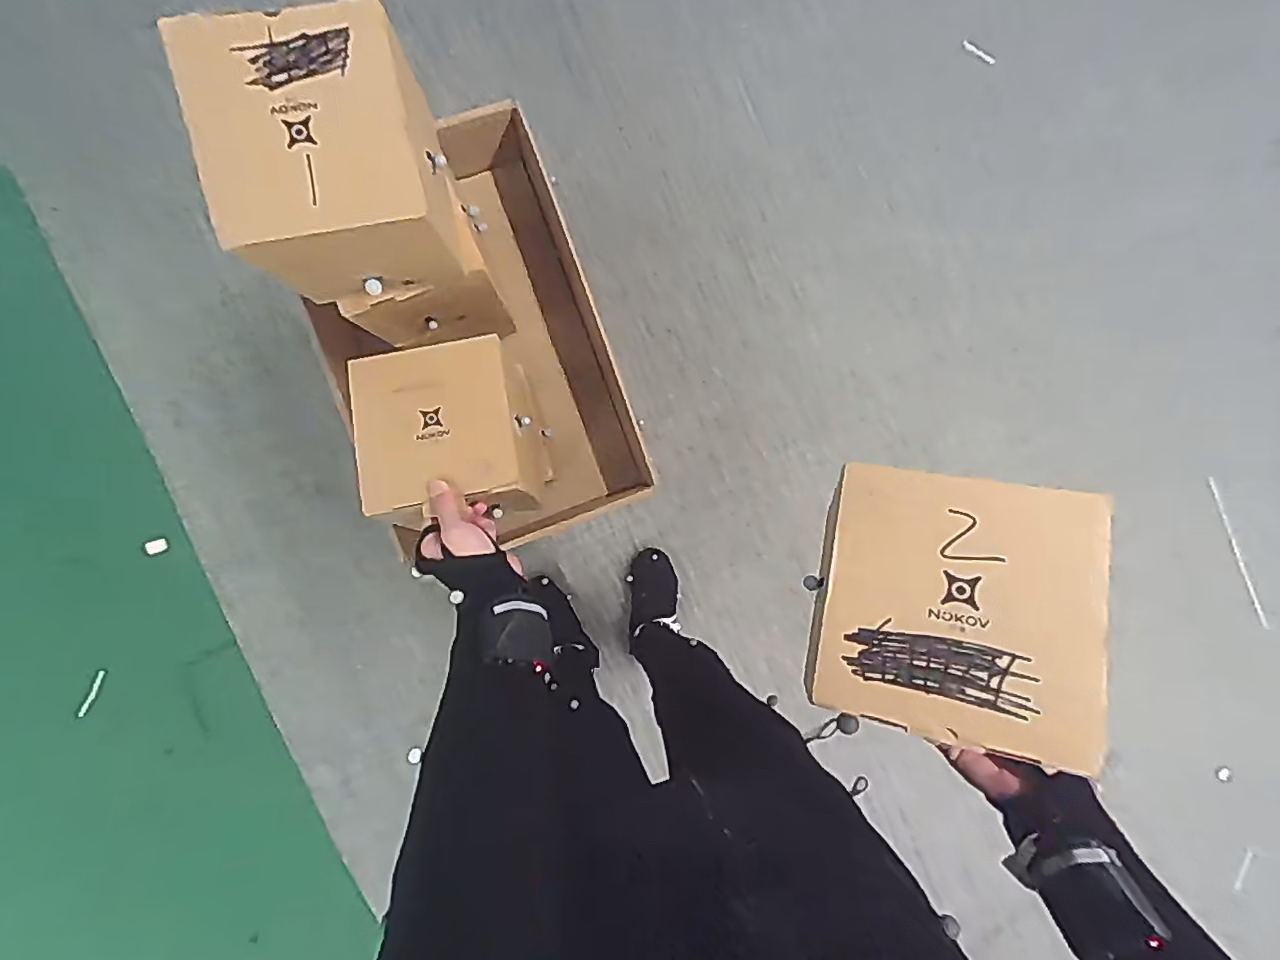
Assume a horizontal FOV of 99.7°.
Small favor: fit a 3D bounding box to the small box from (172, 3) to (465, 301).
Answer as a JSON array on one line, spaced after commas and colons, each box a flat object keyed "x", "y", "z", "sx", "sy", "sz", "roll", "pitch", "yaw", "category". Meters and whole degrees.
[{"x": -0.280, "y": -0.290, "z": 0.514, "sx": 0.168, "sy": 0.176, "sz": 0.179, "roll": -12, "pitch": 95, "yaw": -5, "category": "small box"}]

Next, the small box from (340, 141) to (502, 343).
[{"x": -0.289, "y": -0.294, "z": 0.678, "sx": 0.168, "sy": 0.176, "sz": 0.179, "roll": -22, "pitch": 95, "yaw": -5, "category": "small box"}]

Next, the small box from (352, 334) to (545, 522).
[{"x": -0.219, "y": -0.049, "z": 0.655, "sx": 0.168, "sy": 0.176, "sz": 0.179, "roll": -11, "pitch": 78, "yaw": -2, "category": "small box"}]

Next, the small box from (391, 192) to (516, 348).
[{"x": -0.306, "y": -0.303, "z": 0.839, "sx": 0.168, "sy": 0.176, "sz": 0.179, "roll": -21, "pitch": 94, "yaw": -4, "category": "small box"}]
